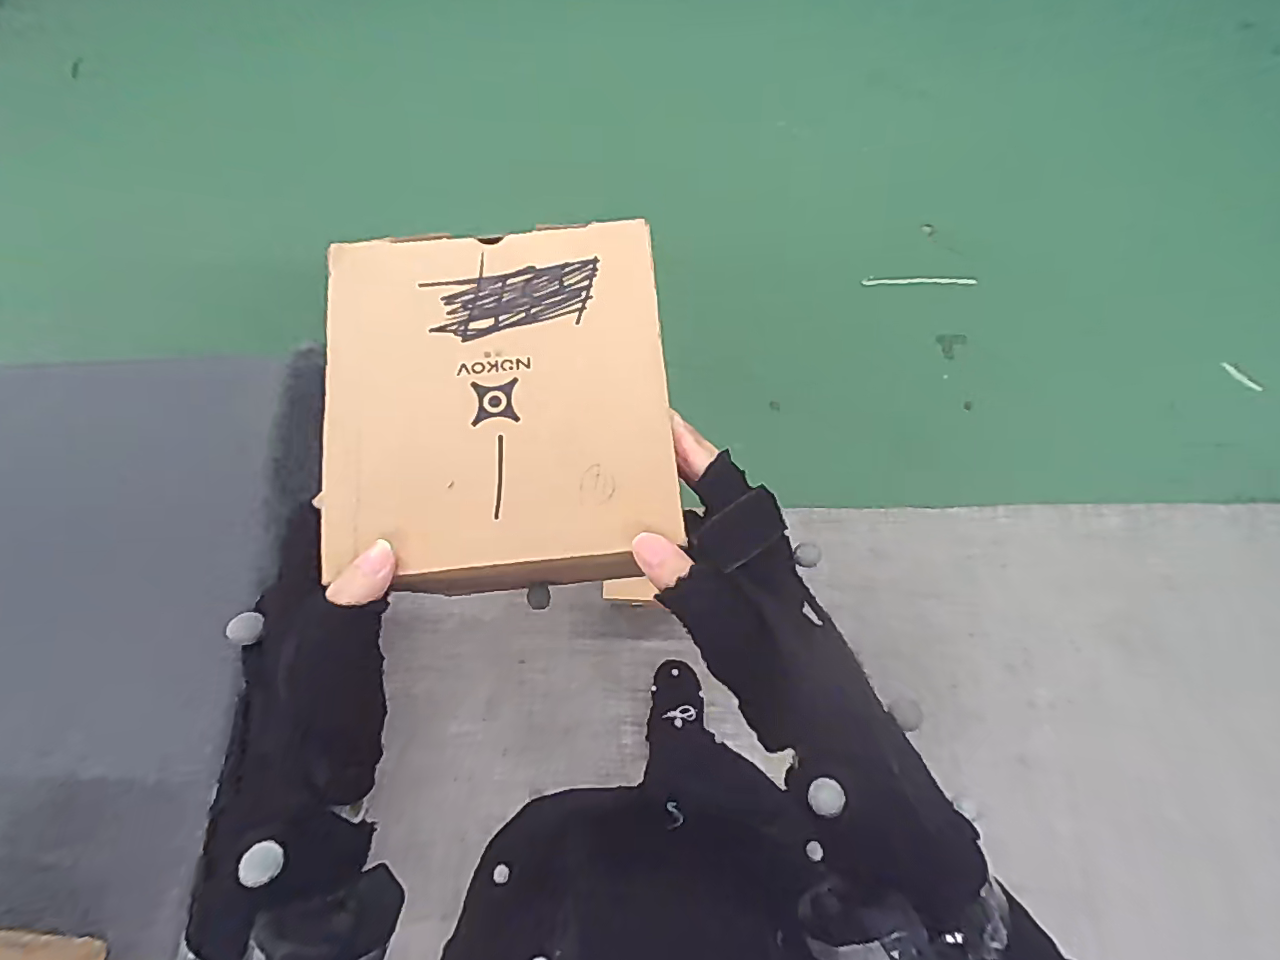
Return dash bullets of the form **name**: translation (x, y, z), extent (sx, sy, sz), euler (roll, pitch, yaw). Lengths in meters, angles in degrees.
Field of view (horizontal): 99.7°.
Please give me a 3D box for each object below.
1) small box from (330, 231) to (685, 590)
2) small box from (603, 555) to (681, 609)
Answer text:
- **small box**: translation (-0.066, -0.027, 0.346), extent (0.168, 0.176, 0.179), euler (-4, 77, -1)
- **small box**: translation (0.010, 0.200, 1.253), extent (0.168, 0.176, 0.179), euler (2, 74, 4)
